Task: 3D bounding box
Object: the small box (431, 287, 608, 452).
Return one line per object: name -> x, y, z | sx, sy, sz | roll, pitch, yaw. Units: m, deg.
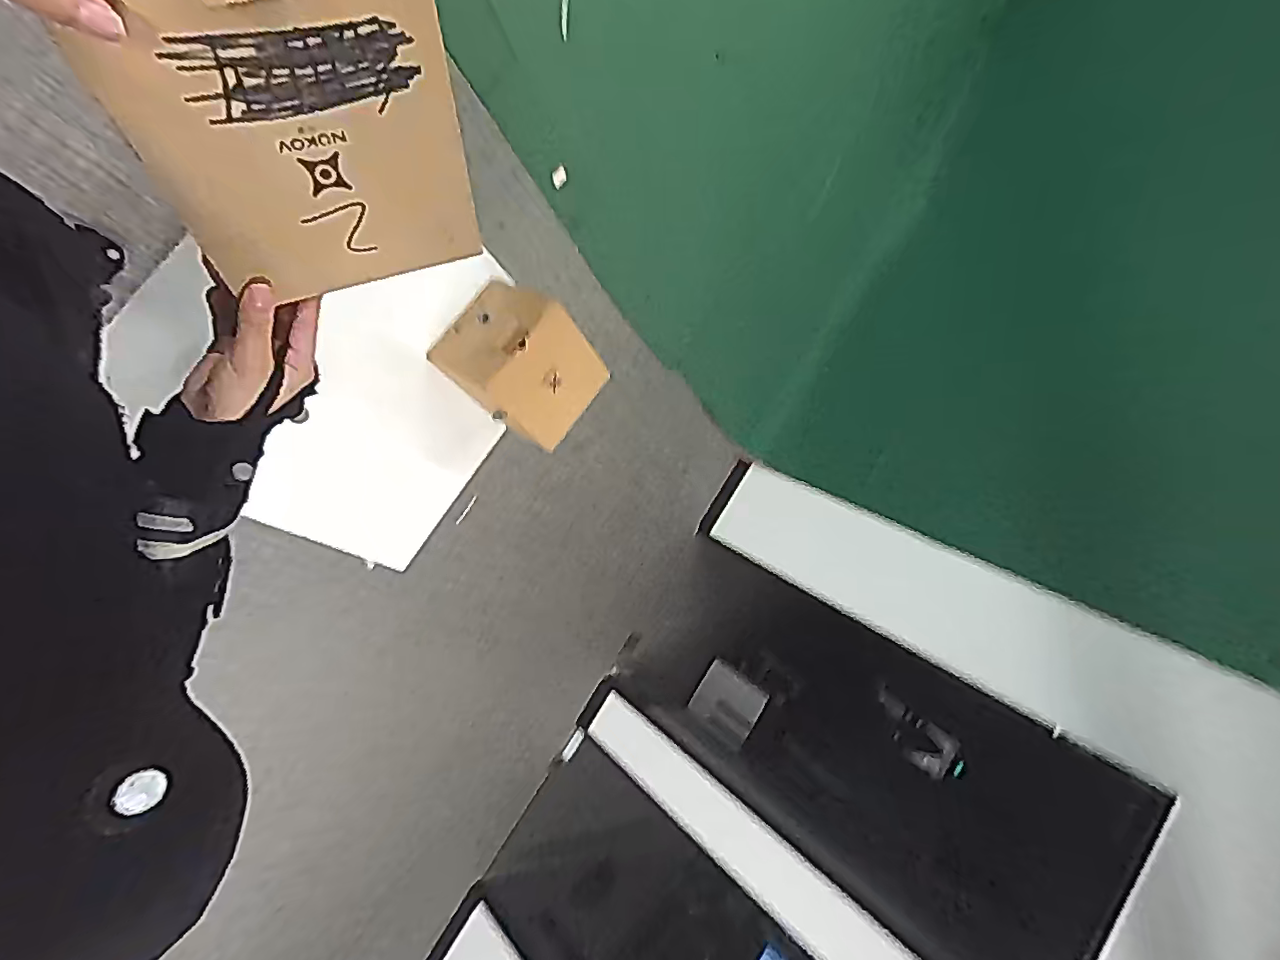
small box -> -0.189, -0.179, 0.861 | 0.168, 0.176, 0.179 | -54, 144, -10
